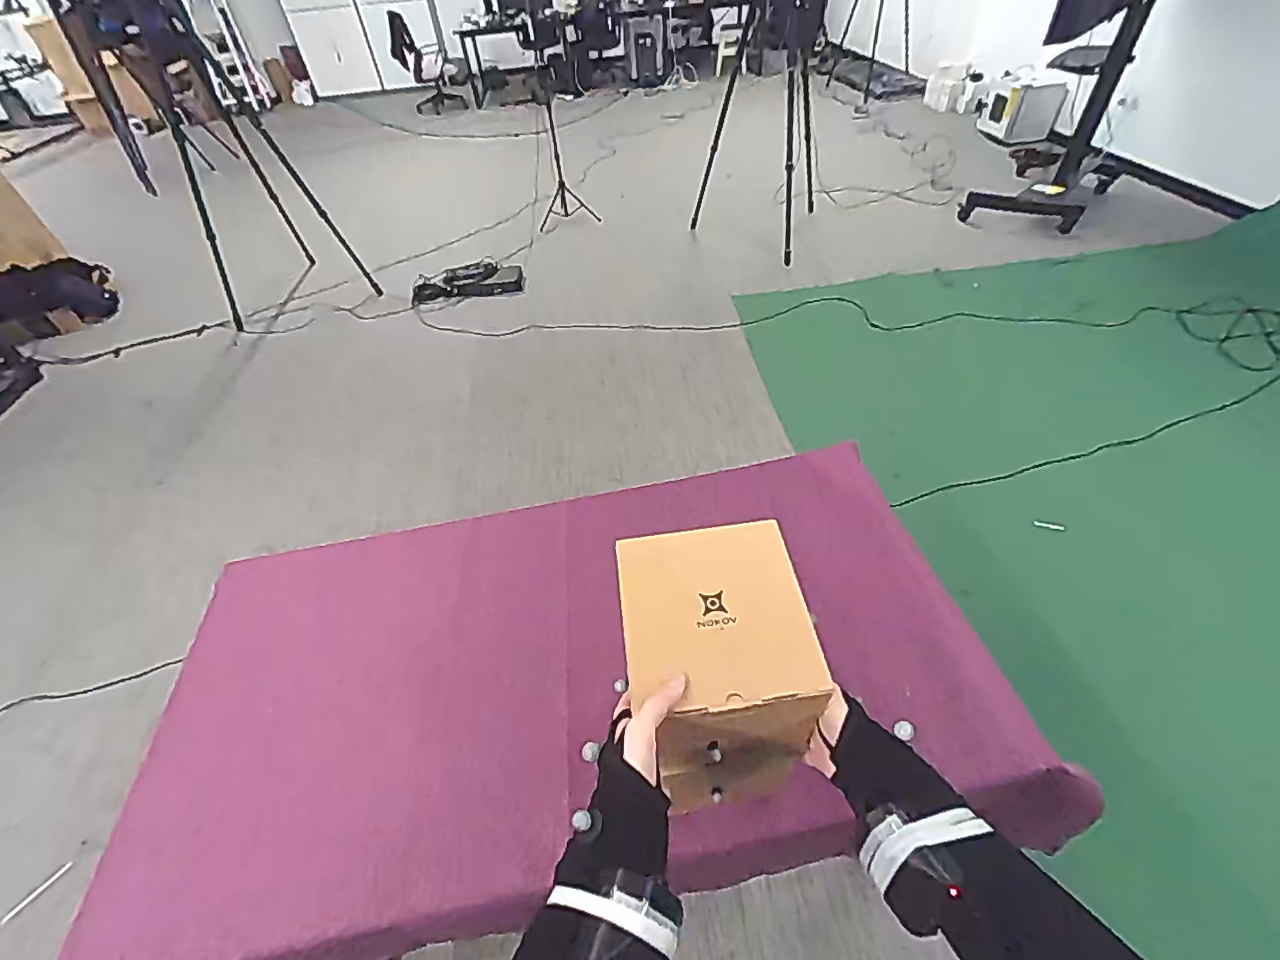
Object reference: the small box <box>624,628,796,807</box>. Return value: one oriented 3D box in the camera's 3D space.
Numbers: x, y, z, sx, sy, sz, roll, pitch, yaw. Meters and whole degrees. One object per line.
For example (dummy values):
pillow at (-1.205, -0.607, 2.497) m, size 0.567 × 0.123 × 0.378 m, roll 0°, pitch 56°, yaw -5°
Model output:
small box at (0.079, 0.286, 0.673) m, size 0.168 × 0.176 × 0.179 m, roll -10°, pitch 46°, yaw -3°

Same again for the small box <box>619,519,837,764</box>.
small box at (0.072, 0.165, 0.547) m, size 0.168 × 0.176 × 0.179 m, roll -8°, pitch 52°, yaw -3°
